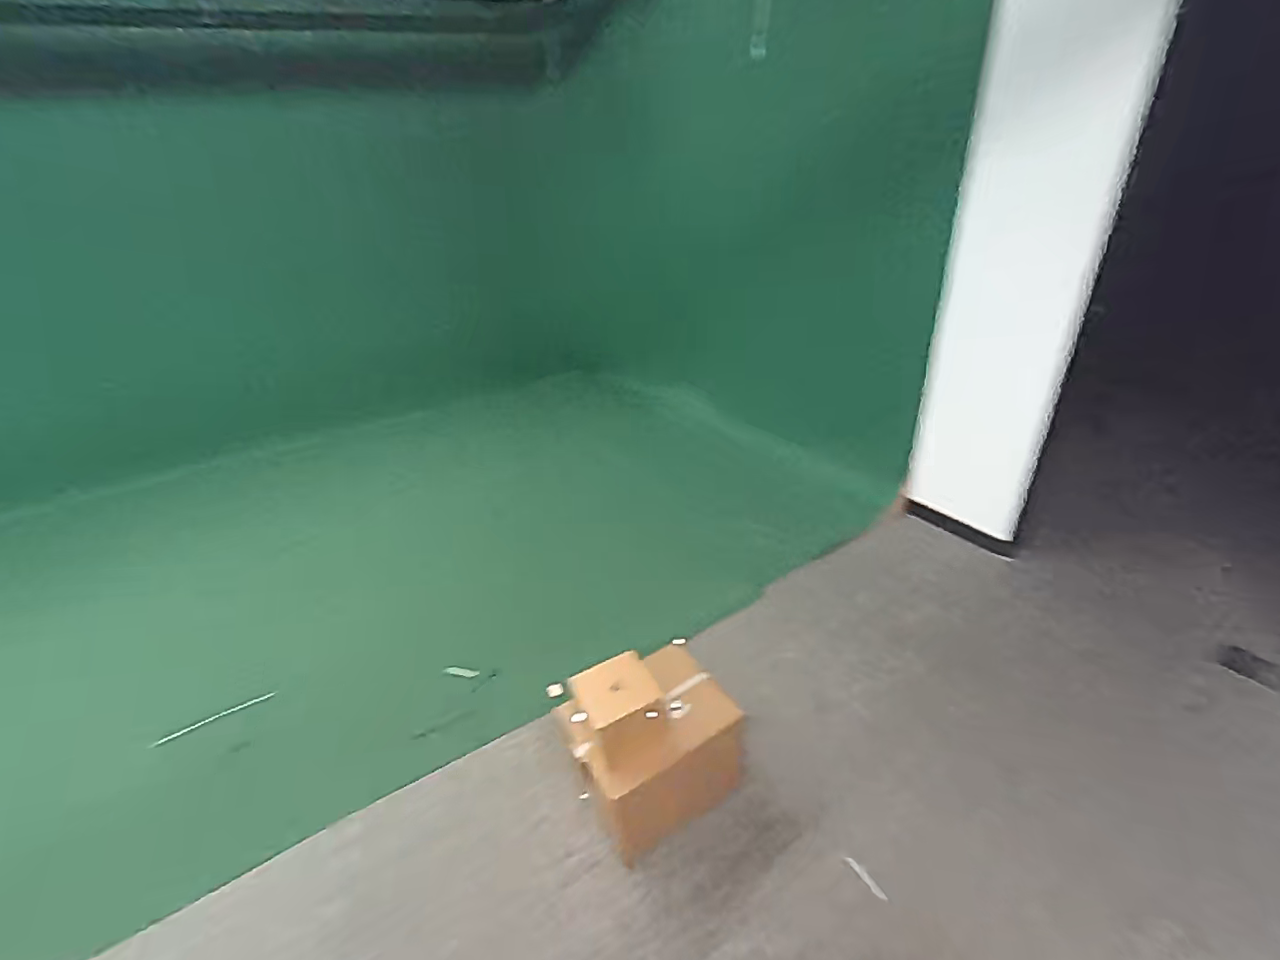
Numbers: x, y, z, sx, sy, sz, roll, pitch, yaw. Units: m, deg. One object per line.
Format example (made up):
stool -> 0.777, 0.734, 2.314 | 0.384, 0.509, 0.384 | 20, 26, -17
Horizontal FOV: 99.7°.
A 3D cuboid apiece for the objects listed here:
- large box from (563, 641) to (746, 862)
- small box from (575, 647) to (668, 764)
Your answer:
large box -> 0.044, 0.737, 1.509 | 0.408, 0.320, 0.320 | -20, 33, -25
small box -> -0.042, 0.559, 1.339 | 0.179, 0.176, 0.168 | -18, 33, -22
